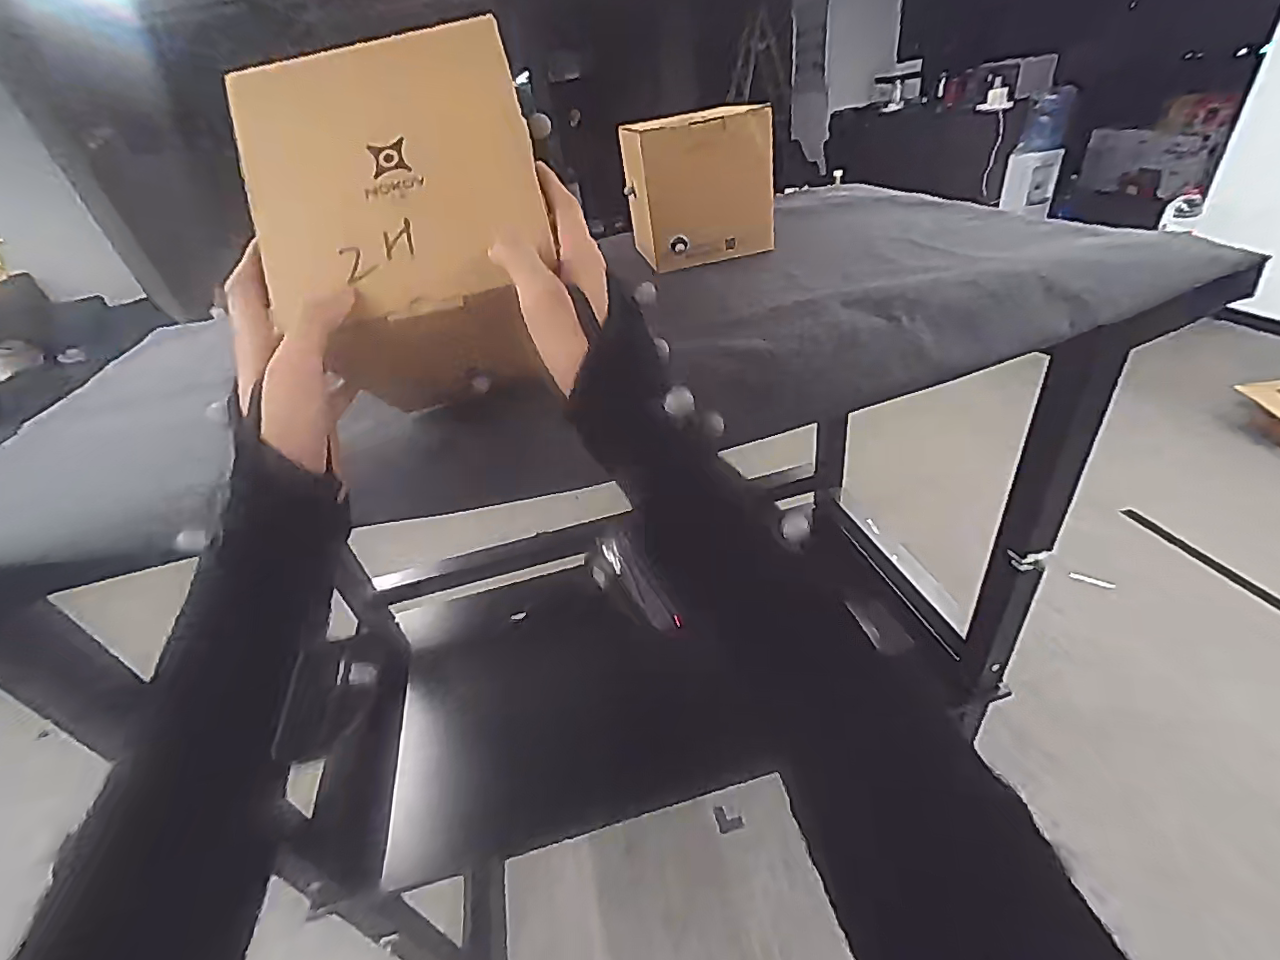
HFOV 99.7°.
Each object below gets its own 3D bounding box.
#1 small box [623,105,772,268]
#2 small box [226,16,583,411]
[{"bbox_3d":[0.080,-0.407,0.756,0.168,0.176,0.179,-12,35,-3],"label":"small box"},{"bbox_3d":[-0.143,-0.166,0.388,0.168,0.179,0.176,-14,-5,-2],"label":"small box"}]
